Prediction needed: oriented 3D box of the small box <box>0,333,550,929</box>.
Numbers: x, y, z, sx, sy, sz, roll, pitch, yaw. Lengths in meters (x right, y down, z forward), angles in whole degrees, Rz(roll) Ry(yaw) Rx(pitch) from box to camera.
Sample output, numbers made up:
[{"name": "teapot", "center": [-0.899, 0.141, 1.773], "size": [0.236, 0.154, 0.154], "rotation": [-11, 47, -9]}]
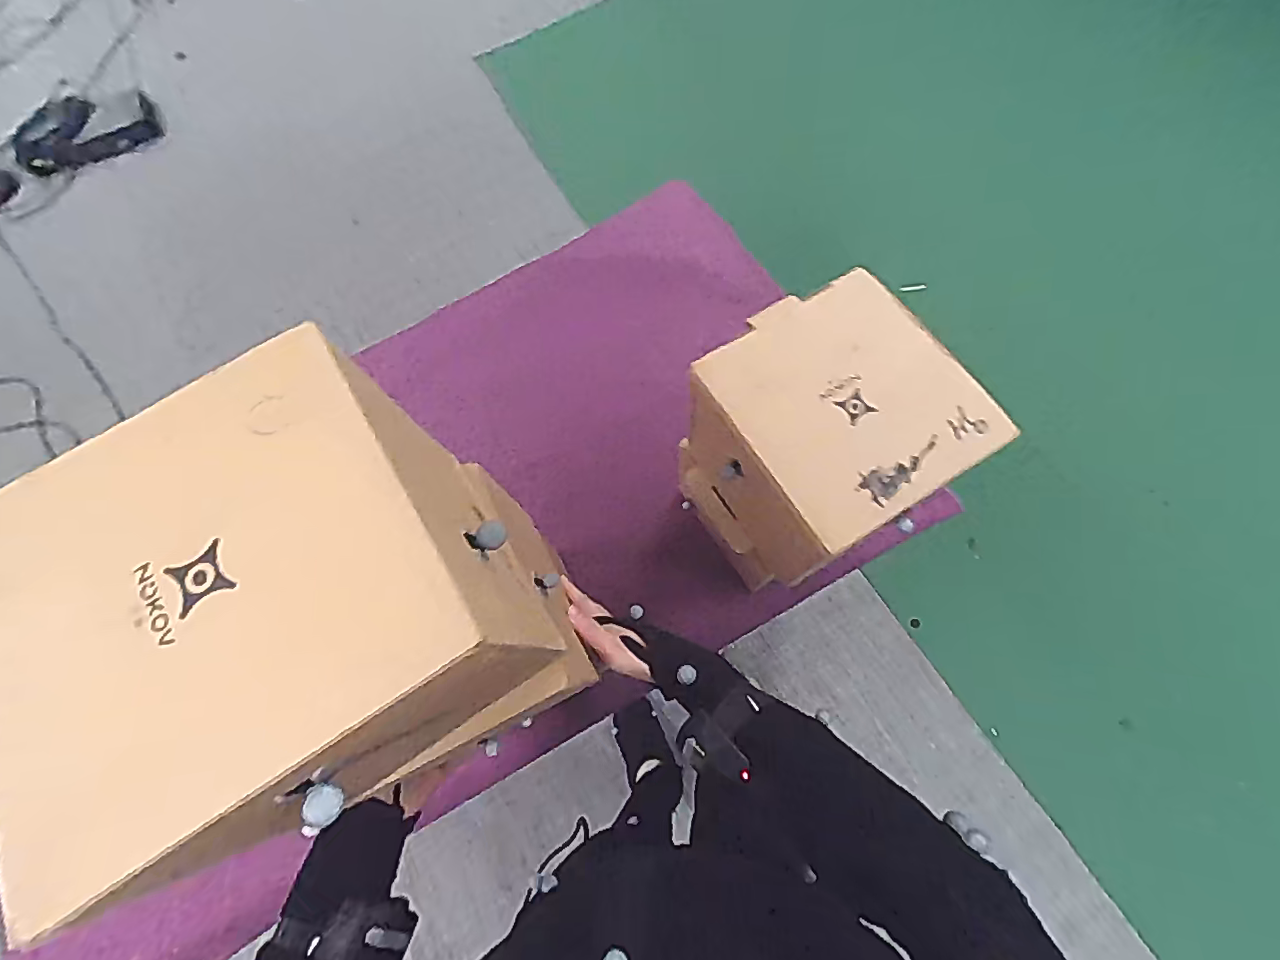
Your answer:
[{"name": "small box", "center": [-0.164, 0.065, 0.288], "size": [0.179, 0.176, 0.168], "rotation": [-33, 73, -6]}]

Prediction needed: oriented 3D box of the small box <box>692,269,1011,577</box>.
[{"name": "small box", "center": [0.156, -0.037, 0.474], "size": [0.168, 0.176, 0.179], "rotation": [-31, 71, -6]}]

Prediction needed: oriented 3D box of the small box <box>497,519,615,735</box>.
[{"name": "small box", "center": [-0.144, 0.171, 0.595], "size": [0.179, 0.176, 0.168], "rotation": [-29, 72, -6]}]

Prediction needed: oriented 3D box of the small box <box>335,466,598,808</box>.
[{"name": "small box", "center": [-0.147, 0.120, 0.440], "size": [0.168, 0.176, 0.179], "rotation": [-27, 72, -5]}]

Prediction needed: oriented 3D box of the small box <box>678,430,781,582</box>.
[{"name": "small box", "center": [0.162, 0.001, 0.634], "size": [0.179, 0.176, 0.168], "rotation": [-33, 72, -7]}]
